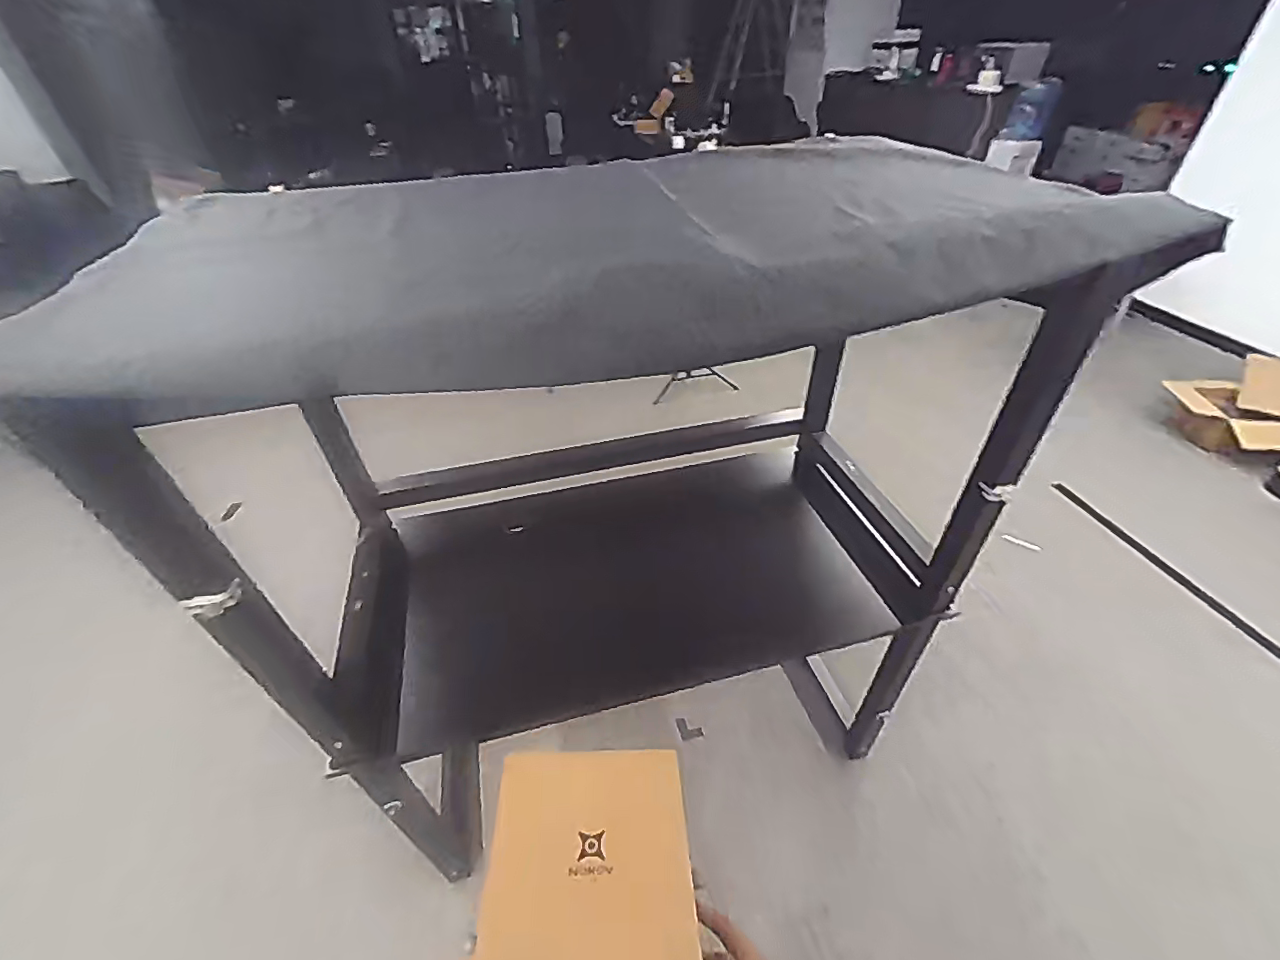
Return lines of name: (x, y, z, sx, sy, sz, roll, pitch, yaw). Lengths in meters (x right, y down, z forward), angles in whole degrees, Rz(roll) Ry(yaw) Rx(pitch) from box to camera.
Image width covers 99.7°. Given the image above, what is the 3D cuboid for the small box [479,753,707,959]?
small box: (-0.042, 0.374, 0.484, 0.168, 0.176, 0.179, 1, 33, -5)
